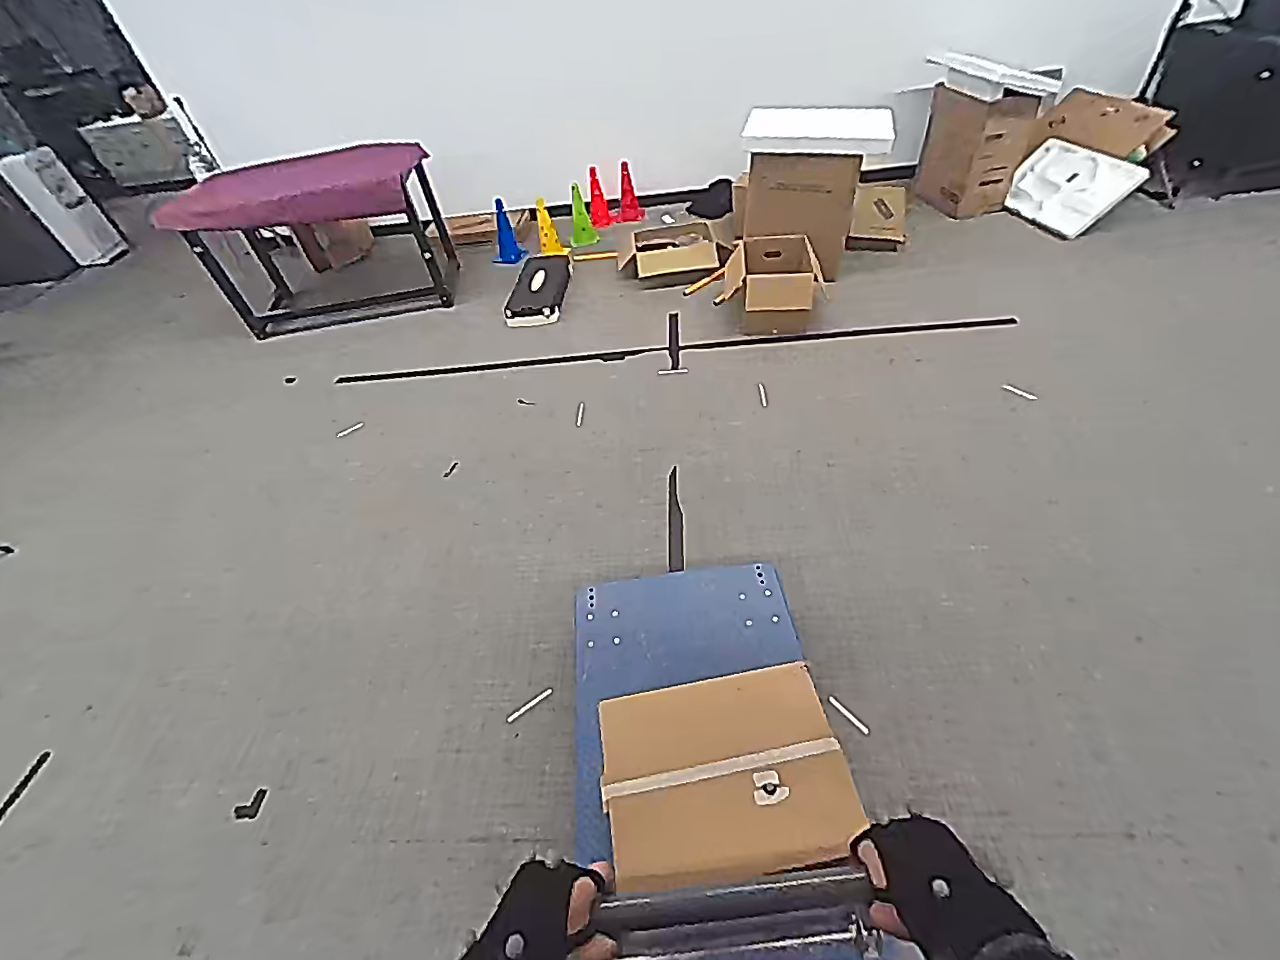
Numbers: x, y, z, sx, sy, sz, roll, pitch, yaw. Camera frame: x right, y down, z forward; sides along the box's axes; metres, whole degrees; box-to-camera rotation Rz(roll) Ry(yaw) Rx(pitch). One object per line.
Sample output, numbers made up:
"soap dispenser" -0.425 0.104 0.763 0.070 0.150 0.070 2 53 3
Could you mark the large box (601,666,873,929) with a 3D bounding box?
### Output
"large box" 0.157 0.605 1.033 0.408 0.320 0.320 -10 46 -3
